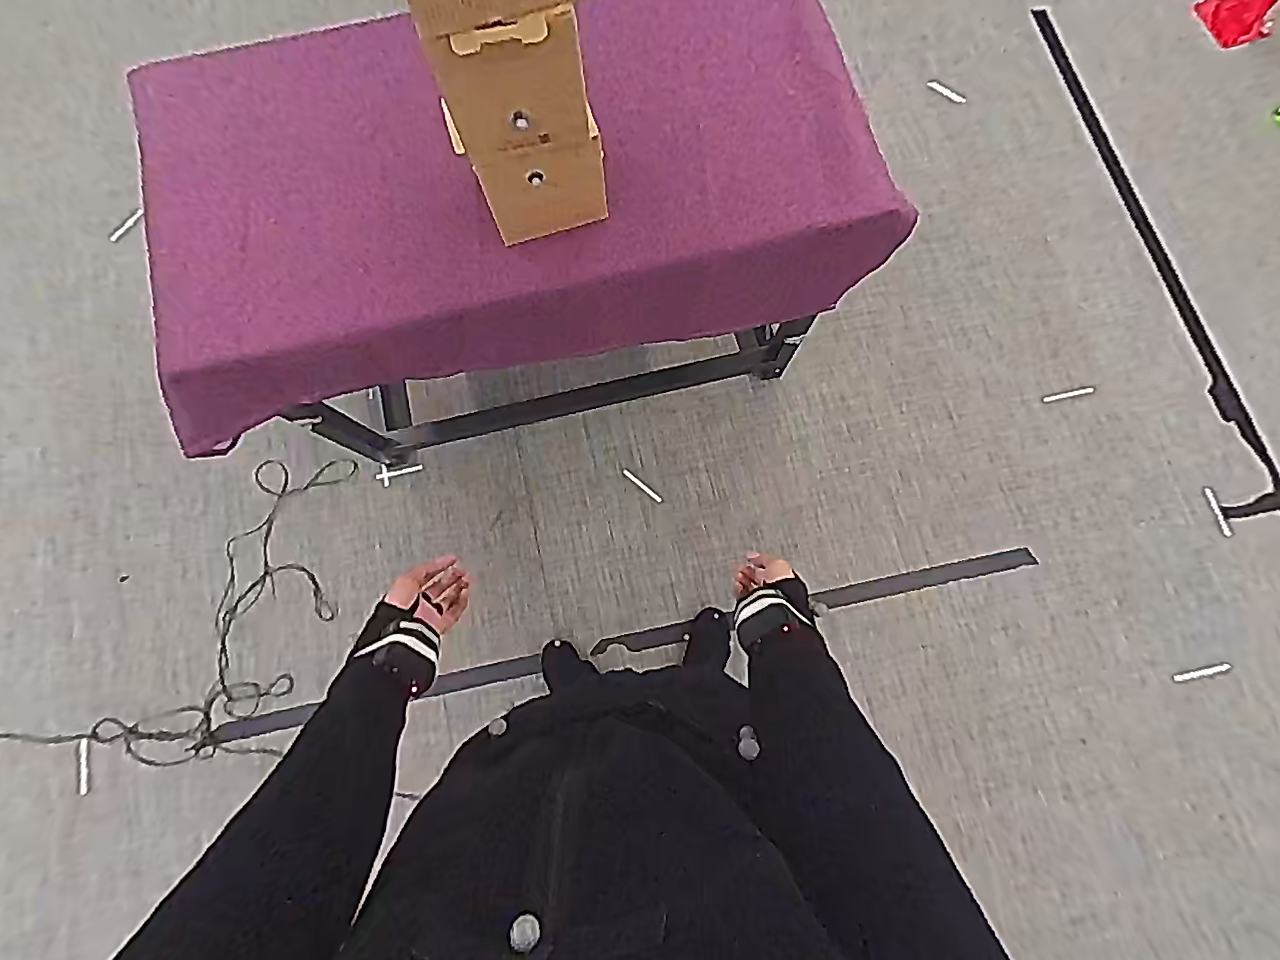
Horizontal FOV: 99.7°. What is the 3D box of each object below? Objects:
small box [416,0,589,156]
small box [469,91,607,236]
[{"bbox_3d":[-0.161,-0.539,0.654,0.168,0.176,0.179,-11,78,-1],"label":"small box"},{"bbox_3d":[-0.157,-0.501,0.814,0.179,0.176,0.168,-17,78,-3],"label":"small box"}]
